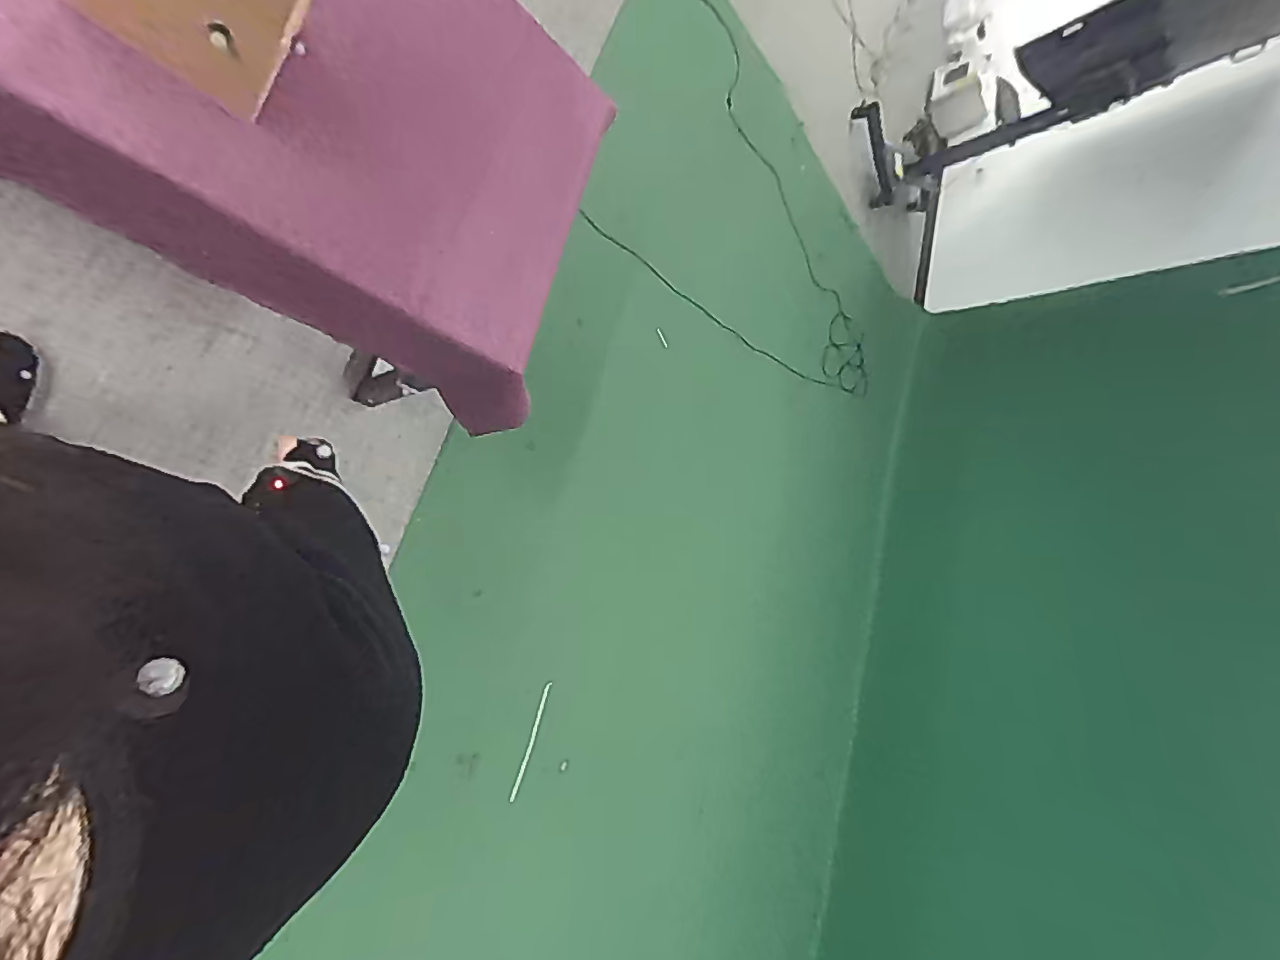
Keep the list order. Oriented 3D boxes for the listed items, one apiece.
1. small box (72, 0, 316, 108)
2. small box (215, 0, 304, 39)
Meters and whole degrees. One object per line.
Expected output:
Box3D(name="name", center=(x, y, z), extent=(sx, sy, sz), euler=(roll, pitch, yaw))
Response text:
Box3D(name="small box", center=(-0.458, -0.540, 0.569), extent=(0.179, 0.176, 0.168), euler=(26, 72, -41))
Box3D(name="small box", center=(-0.343, -0.543, 0.452), extent=(0.168, 0.176, 0.179), euler=(24, 74, -41))
